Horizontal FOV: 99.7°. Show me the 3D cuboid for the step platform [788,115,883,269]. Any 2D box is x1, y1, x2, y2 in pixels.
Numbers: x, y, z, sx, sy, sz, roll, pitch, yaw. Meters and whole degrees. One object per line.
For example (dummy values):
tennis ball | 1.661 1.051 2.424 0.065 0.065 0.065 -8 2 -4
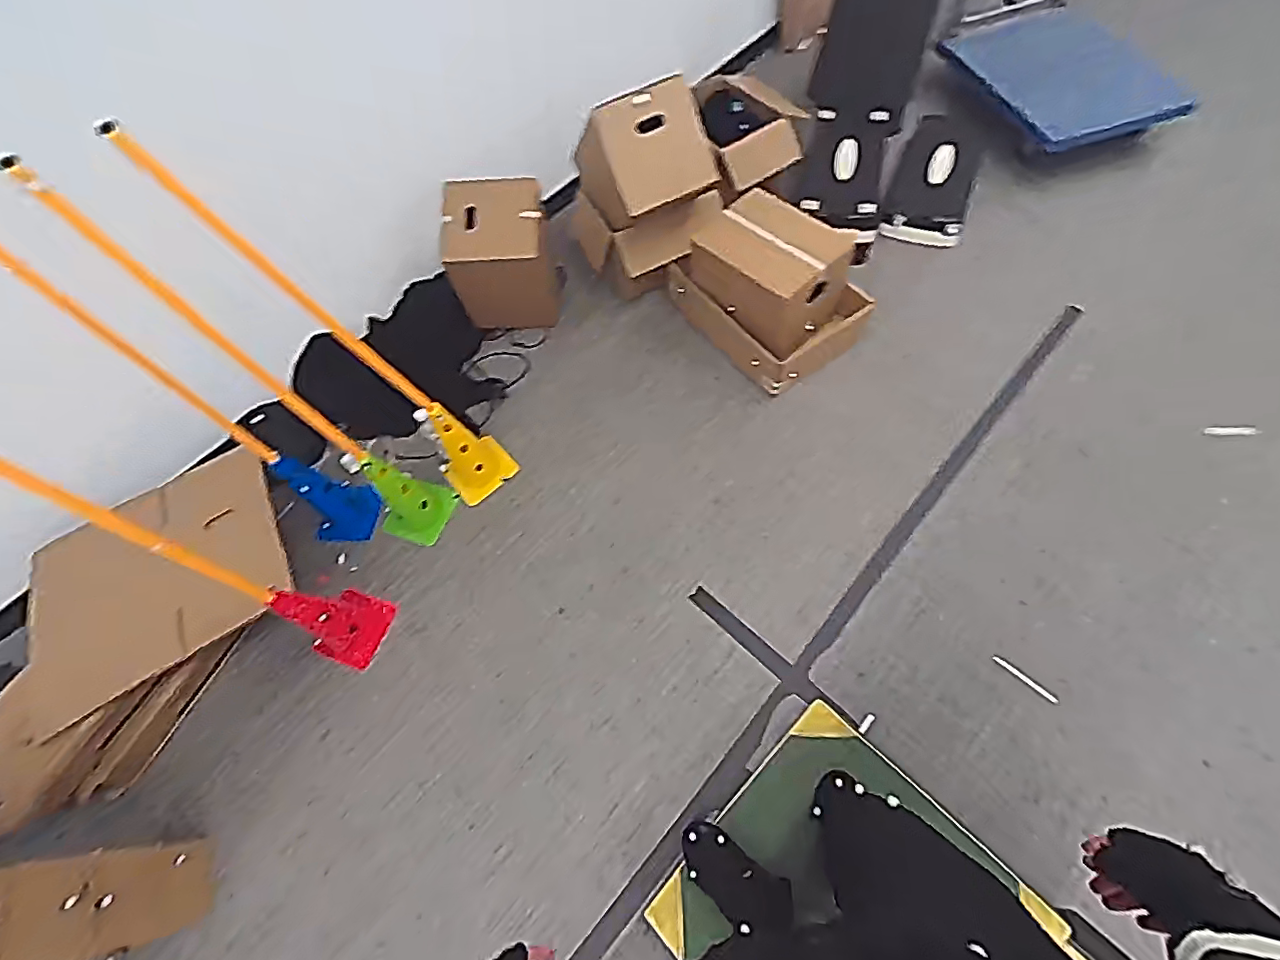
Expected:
step platform | 0.769 -1.140 2.112 0.286 0.204 0.684 10 65 13
